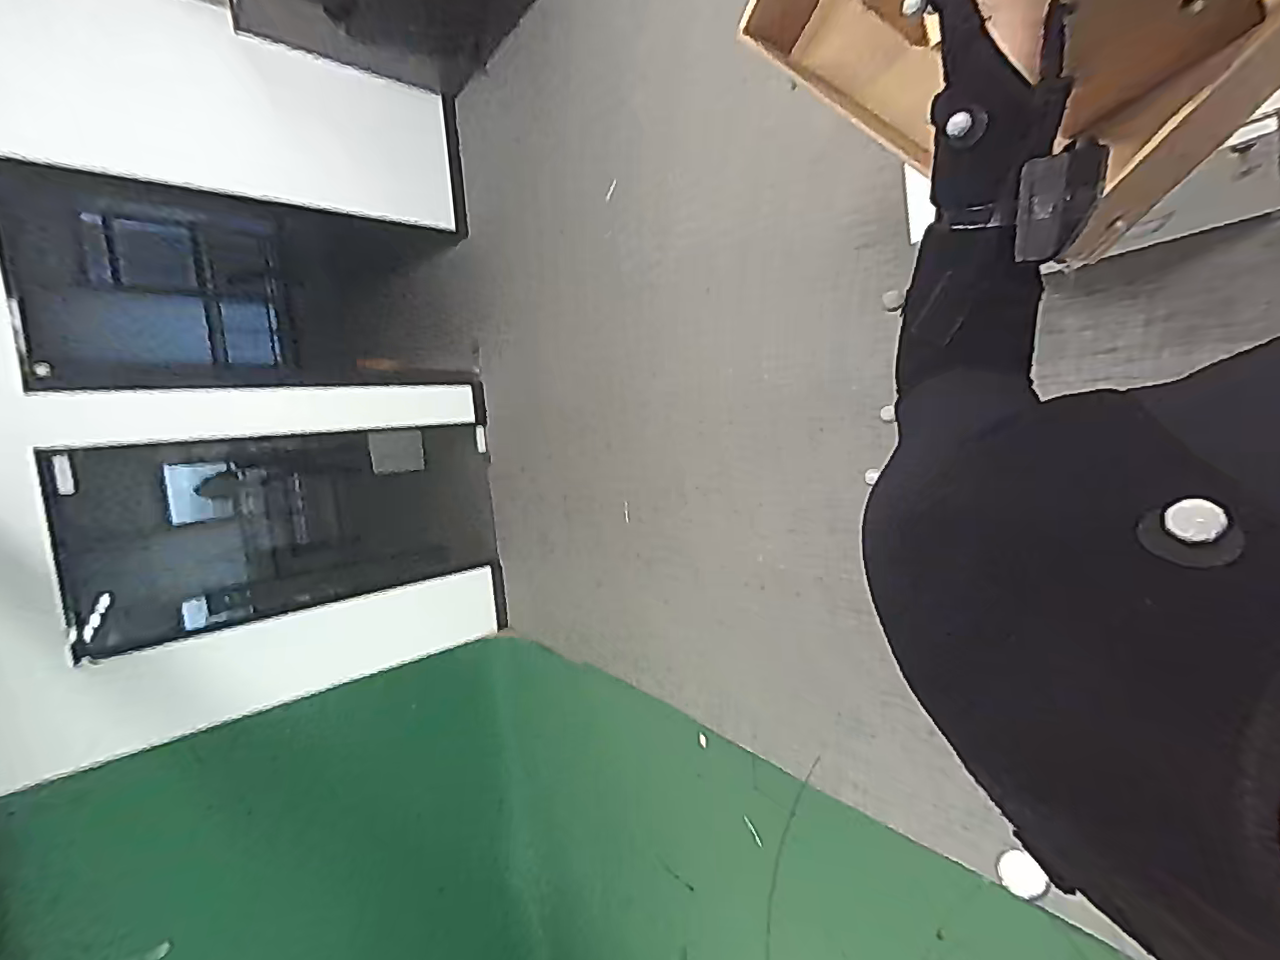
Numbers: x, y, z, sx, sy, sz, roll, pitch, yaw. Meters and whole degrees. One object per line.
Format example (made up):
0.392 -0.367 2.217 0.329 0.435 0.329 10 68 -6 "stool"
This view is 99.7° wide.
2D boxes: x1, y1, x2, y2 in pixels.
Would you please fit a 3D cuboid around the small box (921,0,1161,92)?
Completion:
0.367 -0.496 0.476 0.179 0.176 0.168 -10 89 54 "small box"
